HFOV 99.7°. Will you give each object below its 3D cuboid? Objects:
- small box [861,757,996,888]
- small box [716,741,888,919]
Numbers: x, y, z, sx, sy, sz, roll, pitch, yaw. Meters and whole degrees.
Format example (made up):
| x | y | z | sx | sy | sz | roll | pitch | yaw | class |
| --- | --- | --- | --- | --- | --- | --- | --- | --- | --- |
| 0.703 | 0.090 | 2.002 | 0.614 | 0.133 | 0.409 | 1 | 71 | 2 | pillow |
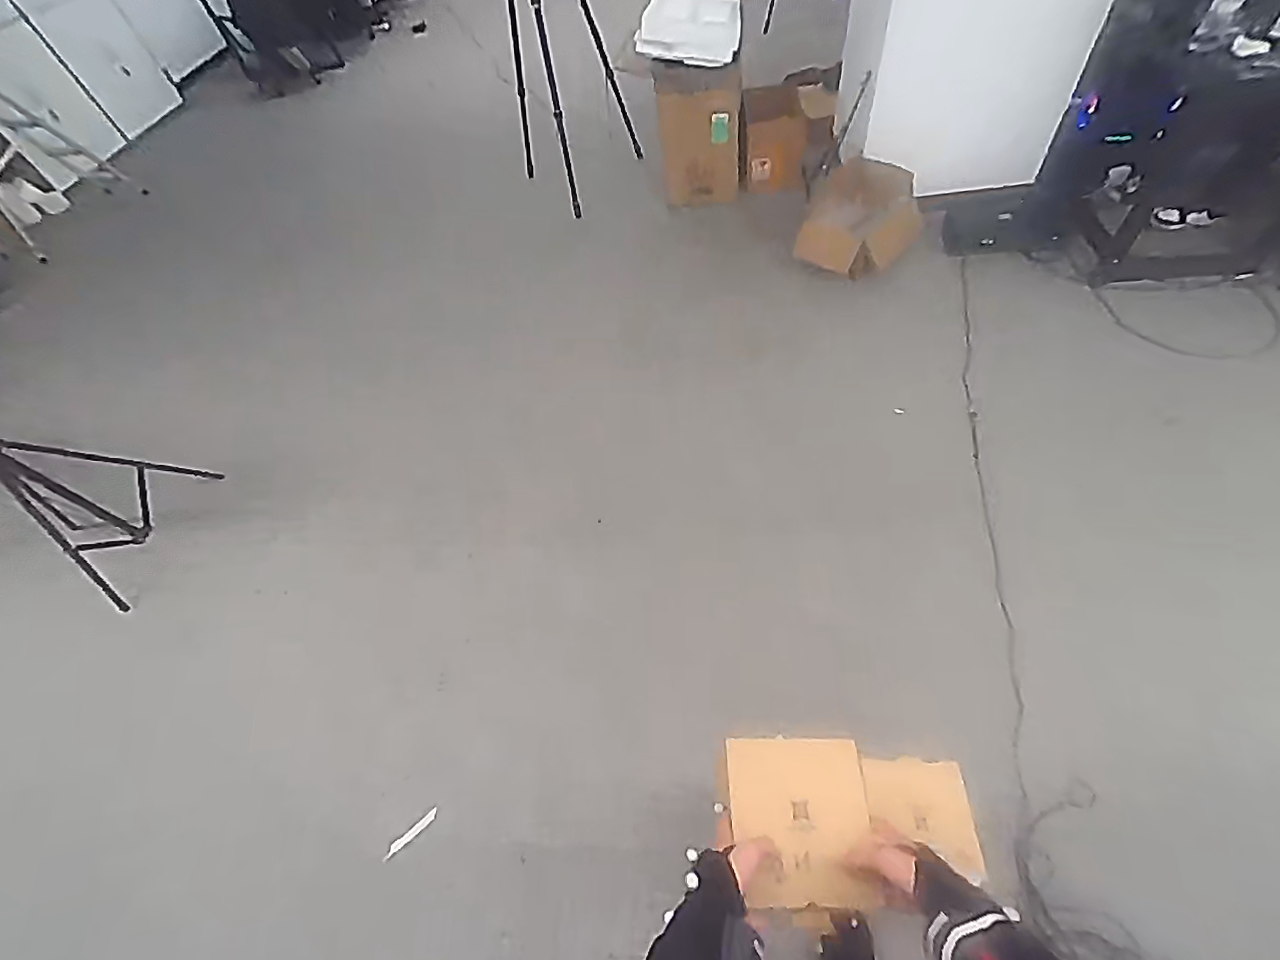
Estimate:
| x | y | z | sx | sy | sz | roll | pitch | yaw | class |
| --- | --- | --- | --- | --- | --- | --- | --- | --- | --- |
| 0.486 | 0.605 | 0.955 | 0.168 | 0.176 | 0.179 | -3 | 54 | 10 | small box |
| 0.191 | 0.446 | 0.700 | 0.168 | 0.176 | 0.179 | -1 | 58 | 2 | small box |
